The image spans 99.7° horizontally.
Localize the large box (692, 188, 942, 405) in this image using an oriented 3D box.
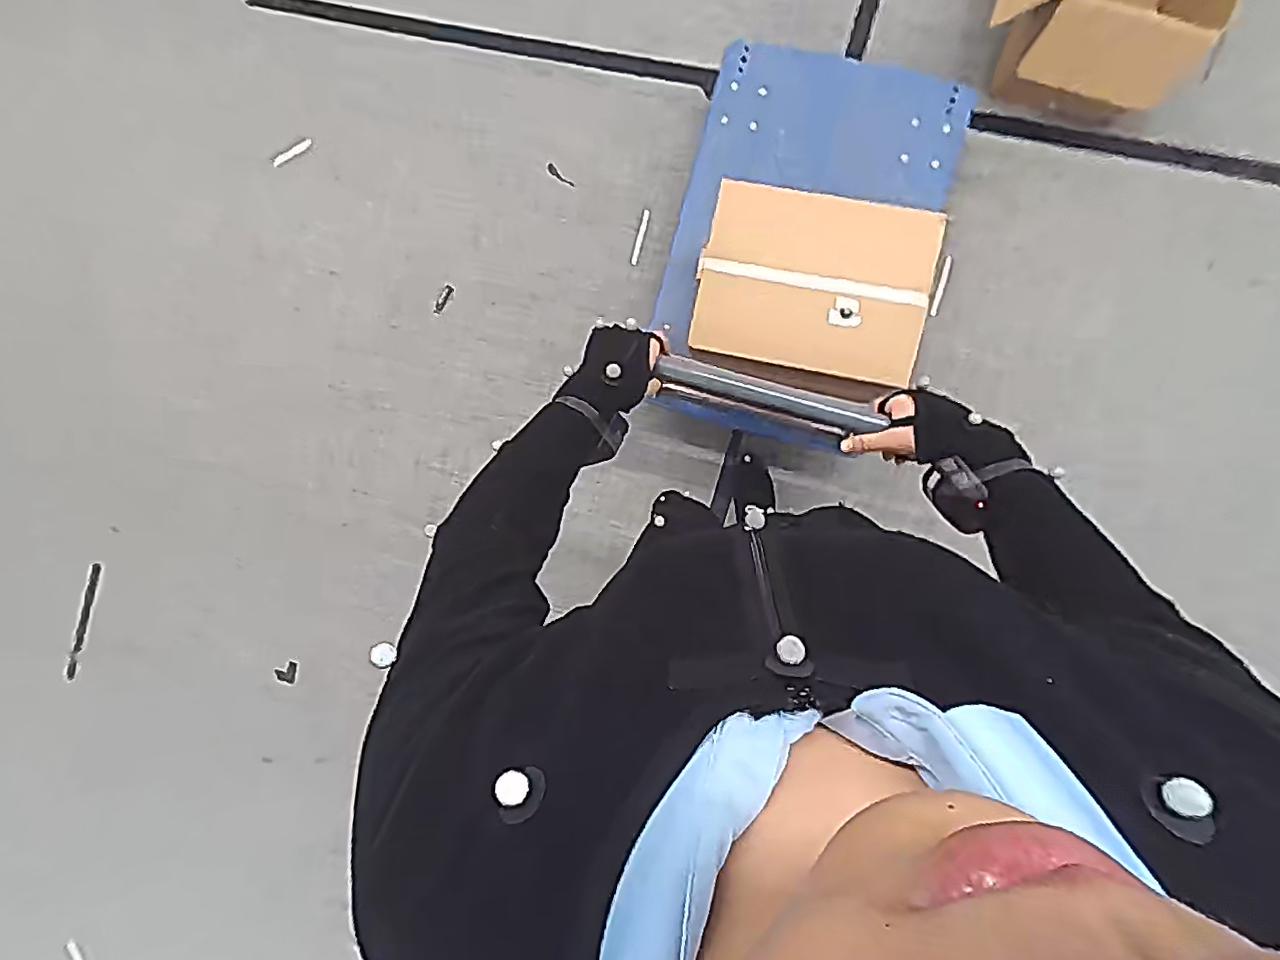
[{"bbox_3d":[0.333,-0.360,1.140,0.408,0.320,0.320,12,94,5],"label":"large box"}]
